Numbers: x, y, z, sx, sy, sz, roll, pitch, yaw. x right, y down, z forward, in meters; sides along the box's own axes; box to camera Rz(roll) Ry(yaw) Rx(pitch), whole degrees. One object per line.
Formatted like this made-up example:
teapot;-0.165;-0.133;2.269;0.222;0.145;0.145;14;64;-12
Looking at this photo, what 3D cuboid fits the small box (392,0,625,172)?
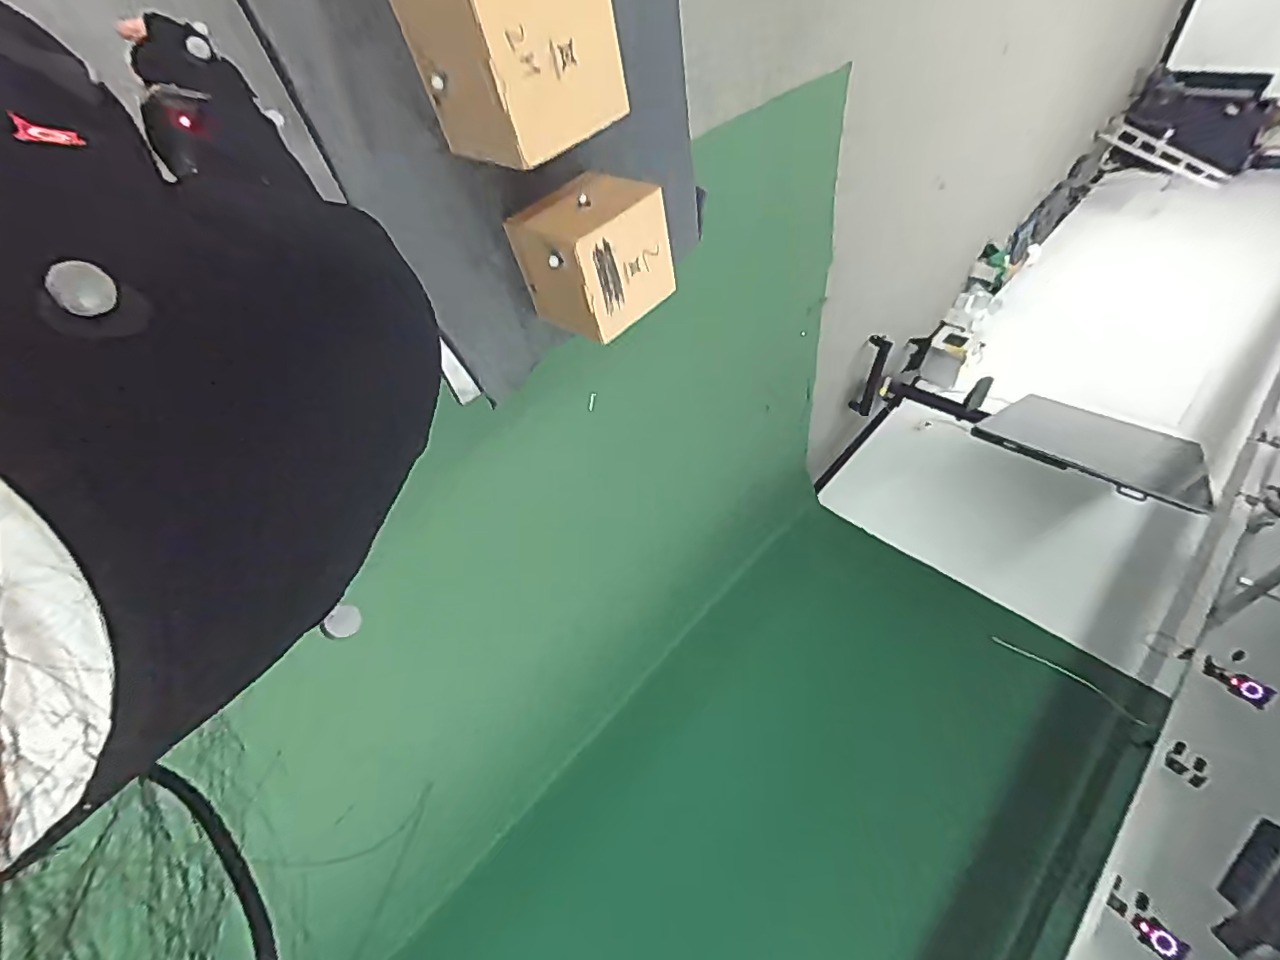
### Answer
small box;-0.147;-0.494;0.634;0.179;0.176;0.168;-43;144;-22
